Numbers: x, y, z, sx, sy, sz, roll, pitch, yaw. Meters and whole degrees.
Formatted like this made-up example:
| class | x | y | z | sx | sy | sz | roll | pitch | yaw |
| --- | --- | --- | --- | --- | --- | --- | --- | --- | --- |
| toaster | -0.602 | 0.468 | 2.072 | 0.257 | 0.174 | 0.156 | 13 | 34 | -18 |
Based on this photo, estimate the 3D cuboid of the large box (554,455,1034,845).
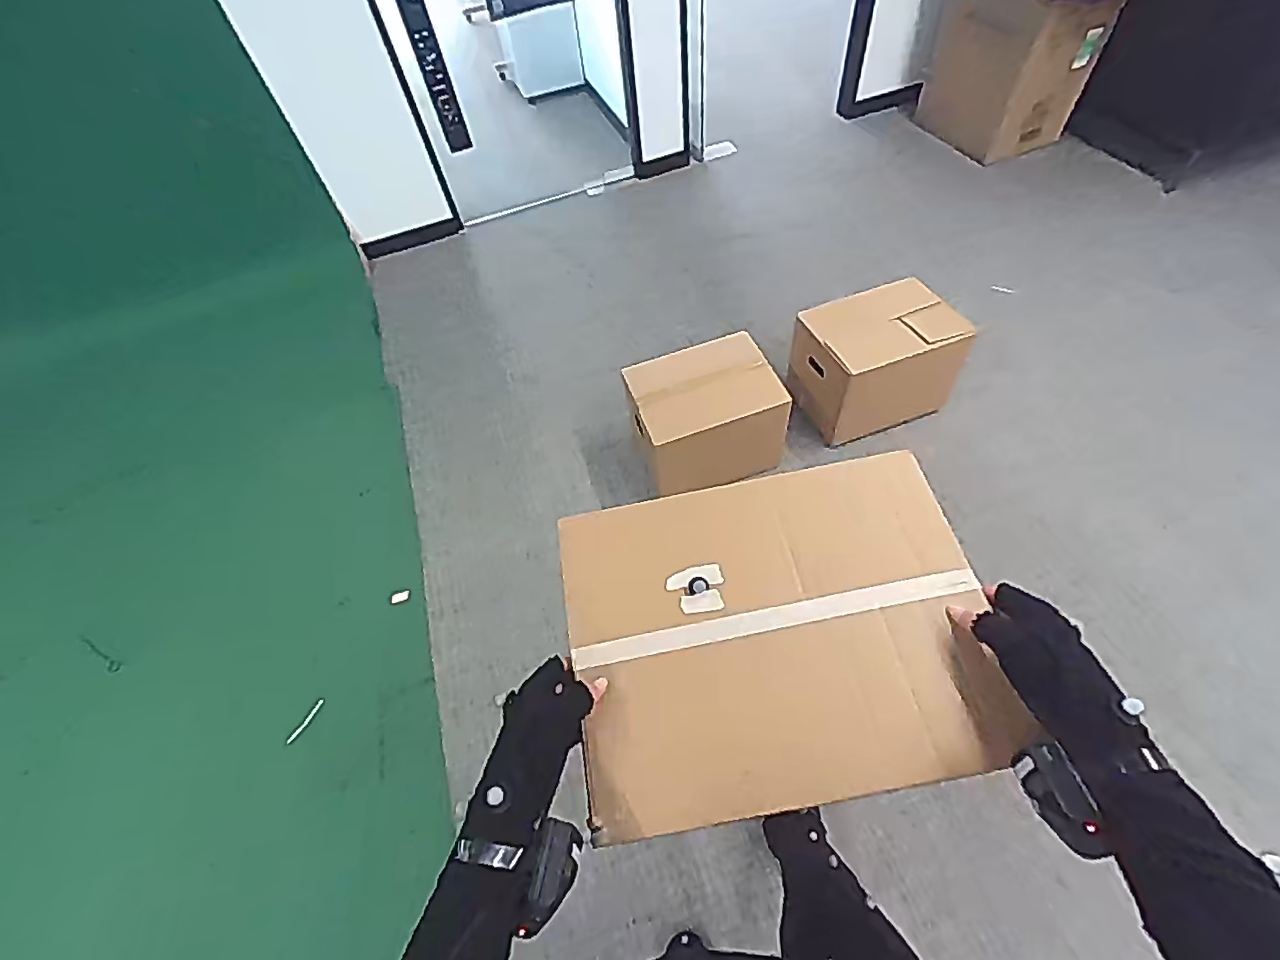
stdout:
| class | x | y | z | sx | sy | sz | roll | pitch | yaw |
| --- | --- | --- | --- | --- | --- | --- | --- | --- | --- |
| large box | 0.140 | 0.211 | 0.665 | 0.408 | 0.320 | 0.320 | -12 | 60 | 1 |
